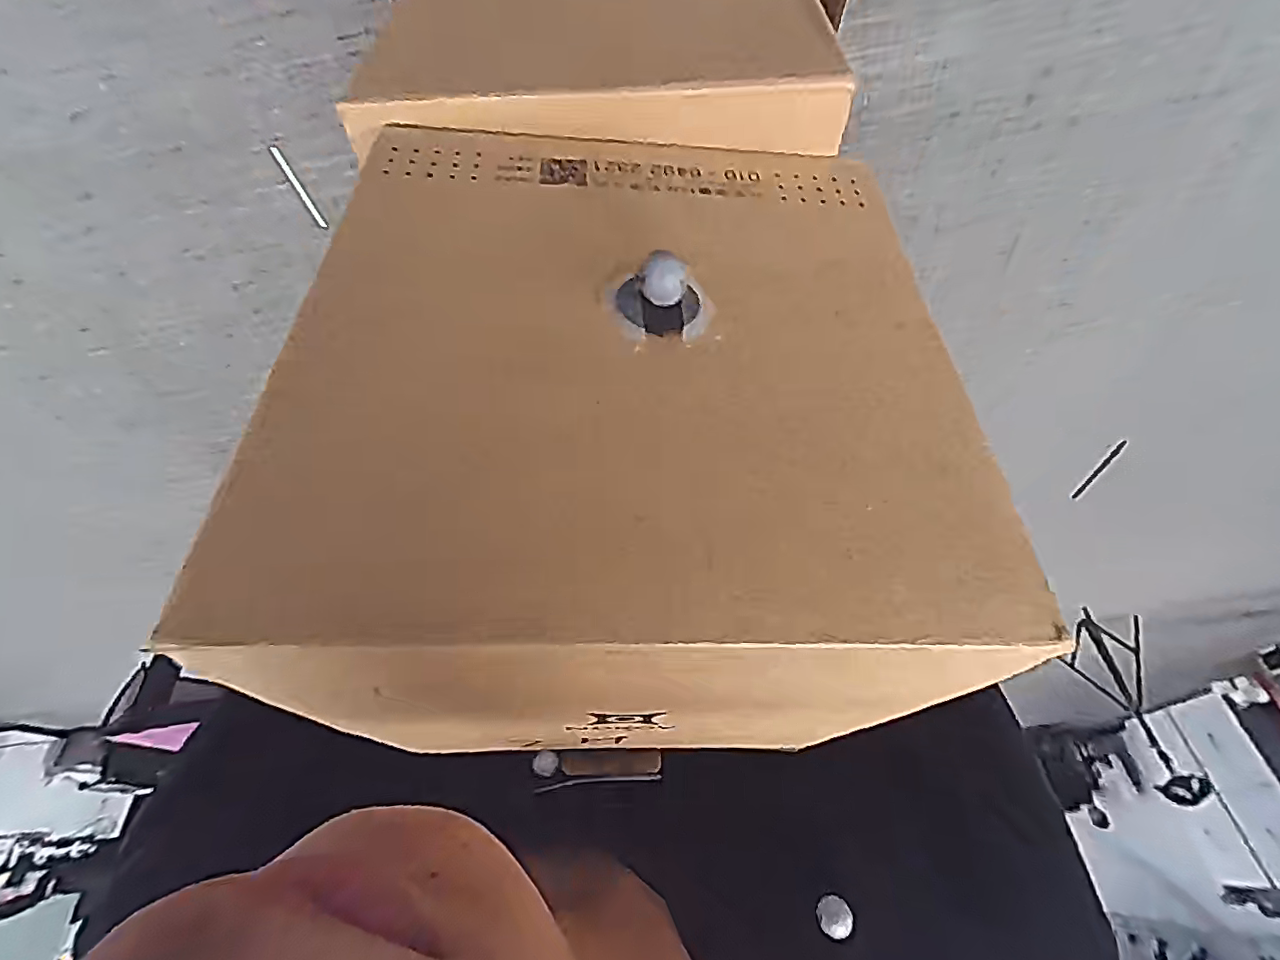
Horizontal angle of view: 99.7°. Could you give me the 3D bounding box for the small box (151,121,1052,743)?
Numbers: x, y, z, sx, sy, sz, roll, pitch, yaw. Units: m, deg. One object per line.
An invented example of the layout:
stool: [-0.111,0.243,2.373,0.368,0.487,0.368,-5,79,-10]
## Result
small box: [-0.011,-0.003,0.207,0.168,0.176,0.179,2,148,-4]

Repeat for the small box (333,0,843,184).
small box: [-0.015,-0.151,0.282,0.168,0.176,0.179,-2,148,1]
